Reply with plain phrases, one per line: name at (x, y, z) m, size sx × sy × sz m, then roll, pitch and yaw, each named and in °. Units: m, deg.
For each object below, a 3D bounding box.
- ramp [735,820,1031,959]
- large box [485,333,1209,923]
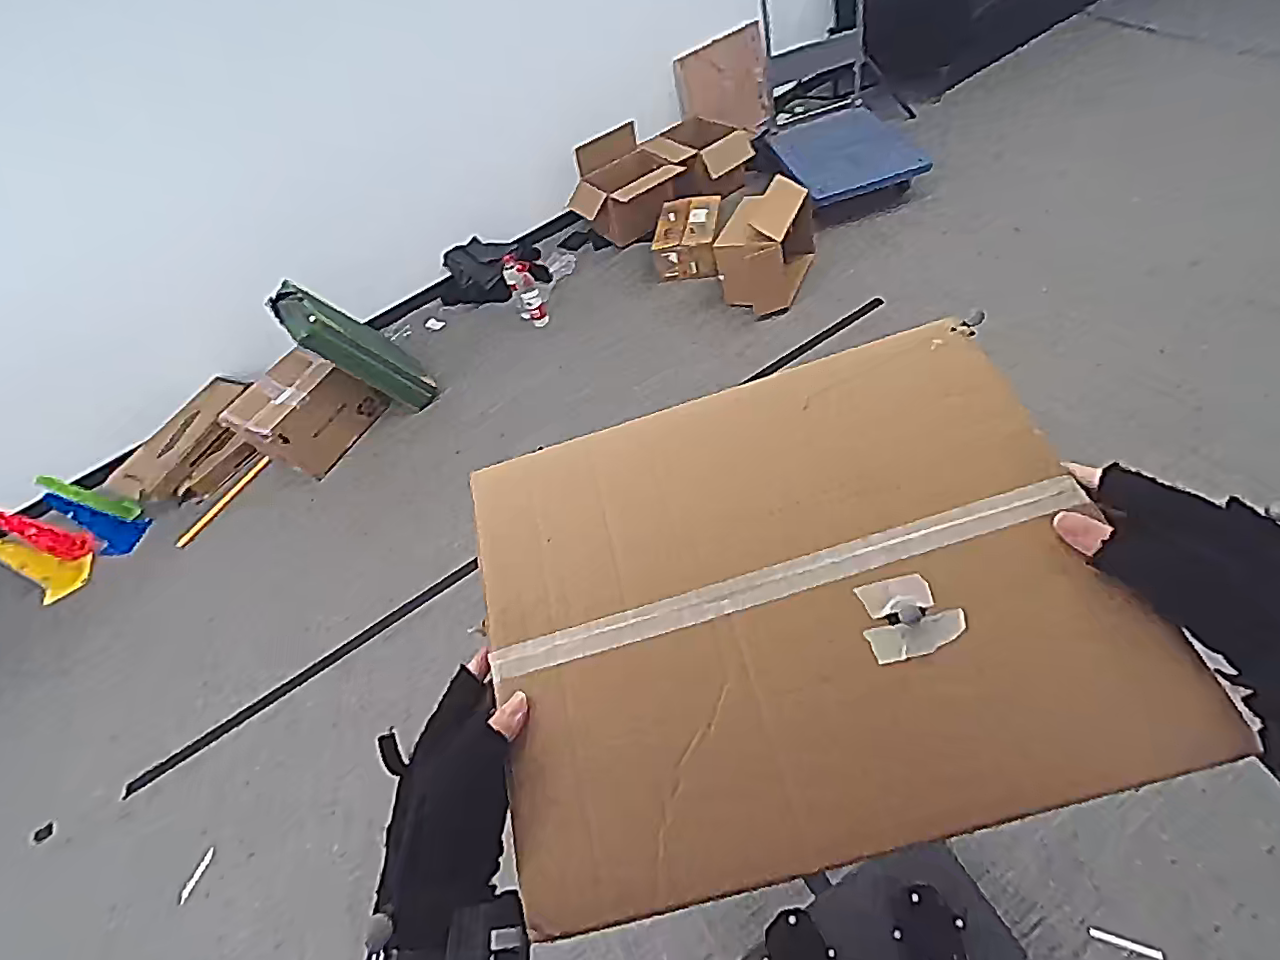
ramp at (0.641, 1.184, 0.874) m, size 0.509 × 0.206 × 0.991 m, roll -32°, pitch 52°, yaw -9°
large box at (0.119, 0.134, 0.509) m, size 0.408 × 0.320 × 0.320 m, roll -17°, pitch 64°, yaw 3°
